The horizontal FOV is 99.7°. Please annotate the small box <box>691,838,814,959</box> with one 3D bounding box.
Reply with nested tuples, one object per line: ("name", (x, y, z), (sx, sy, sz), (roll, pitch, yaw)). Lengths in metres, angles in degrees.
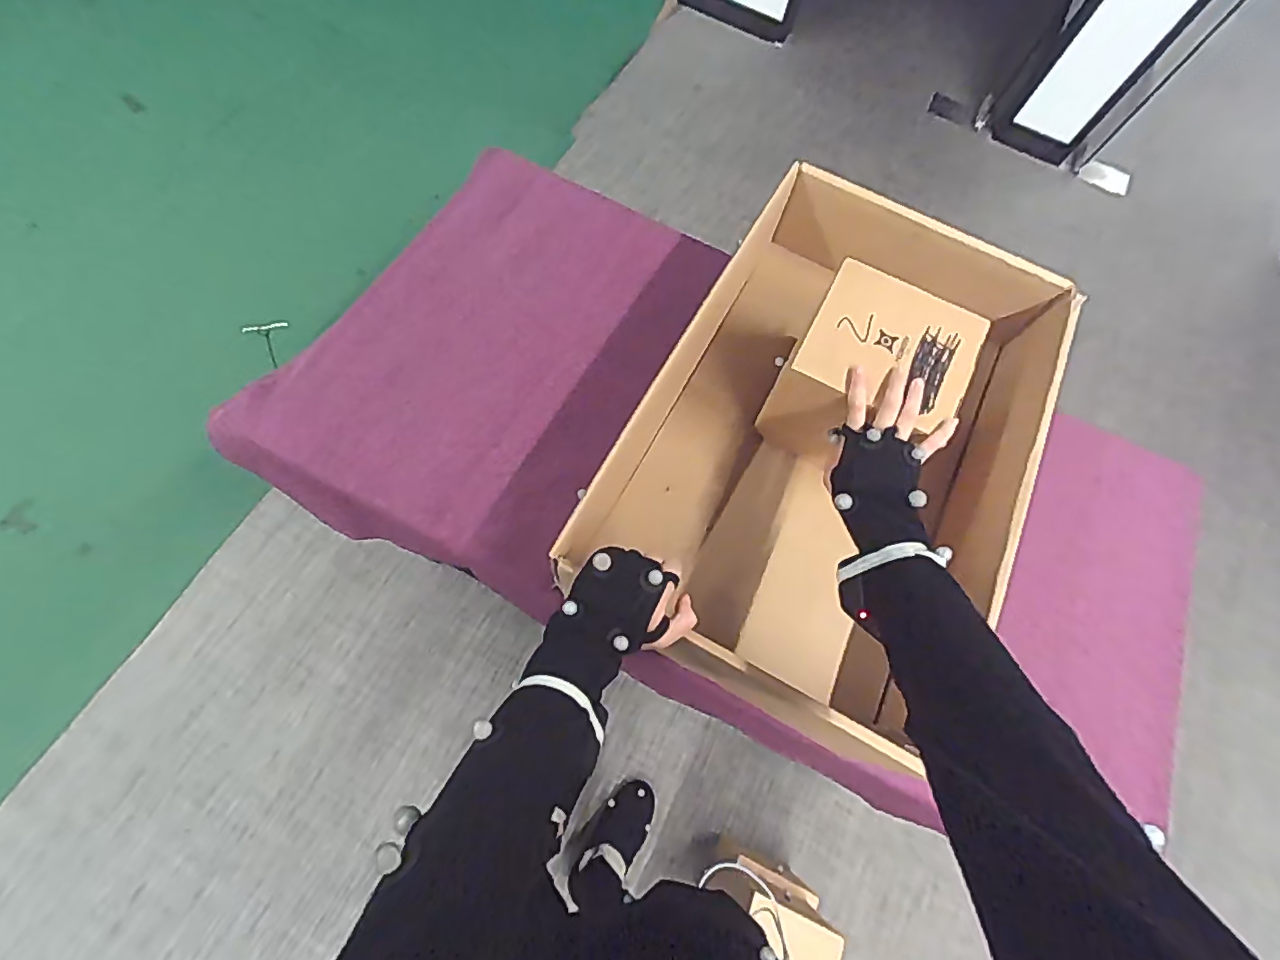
("small box", (0.224, 0.874, 1.112), (0.179, 0.176, 0.168), (26, 69, 5))
